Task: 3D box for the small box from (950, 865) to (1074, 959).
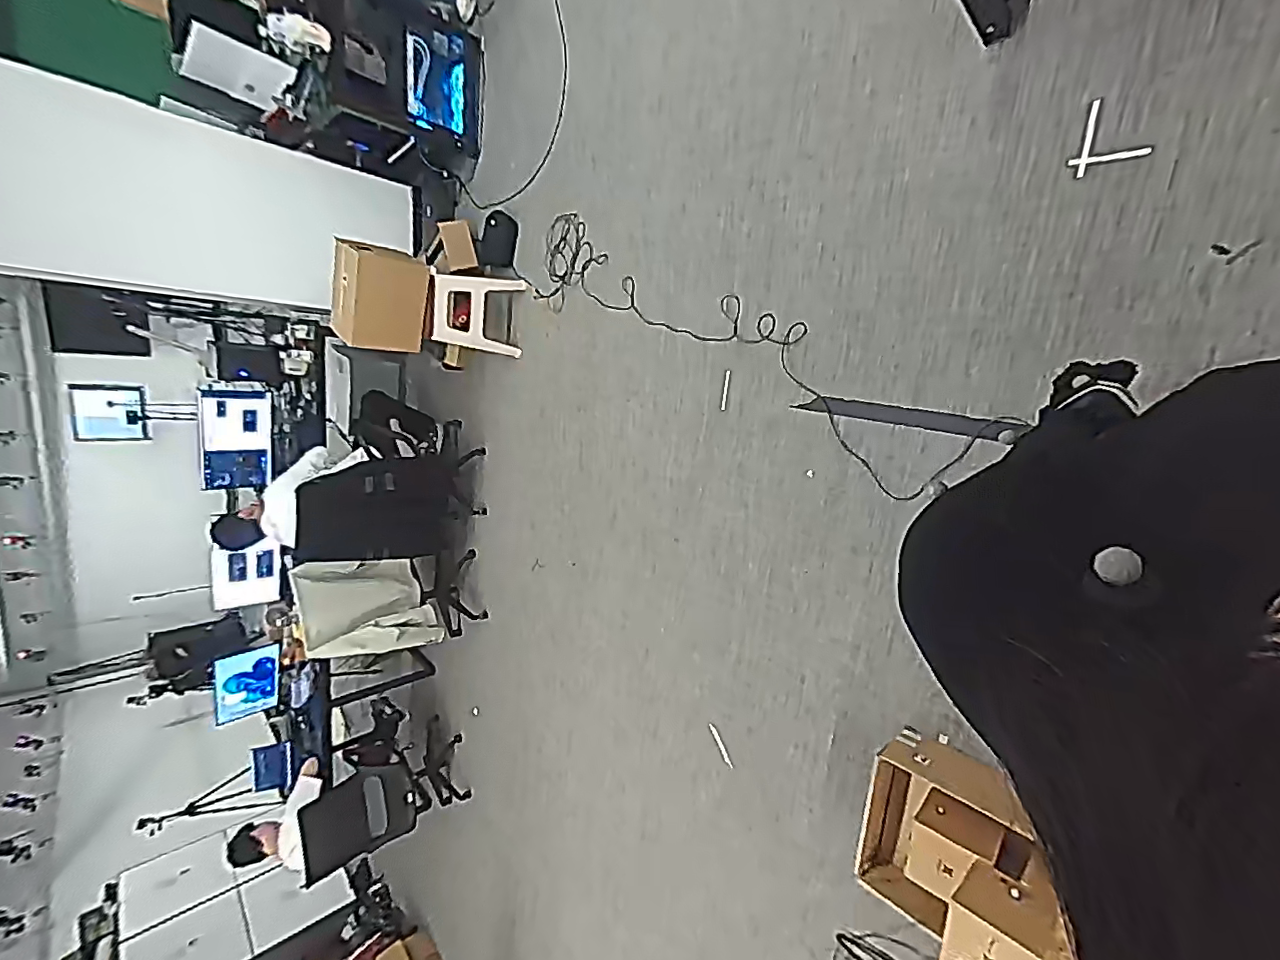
[{"bbox_3d":[0.776,0.967,1.127,0.168,0.176,0.179,14,103,48],"label":"small box"}]
